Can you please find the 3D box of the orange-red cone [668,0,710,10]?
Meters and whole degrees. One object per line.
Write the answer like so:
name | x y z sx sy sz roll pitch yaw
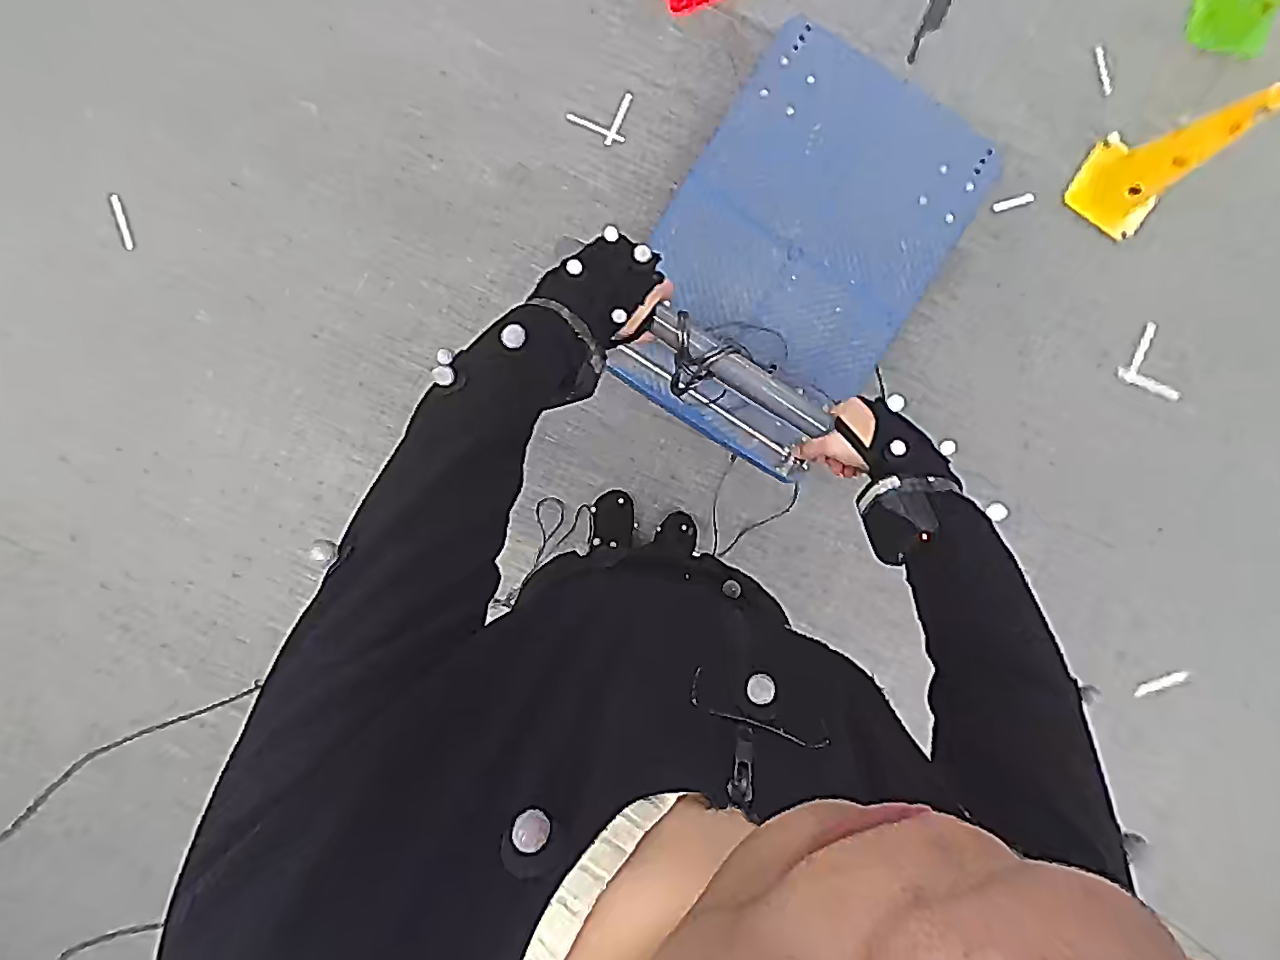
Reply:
orange-red cone | 0.147 -1.255 1.143 0.199 0.360 0.198 -20 93 -2

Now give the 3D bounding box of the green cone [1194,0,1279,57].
green cone | 1.492 -1.160 1.171 0.200 0.368 0.202 11 93 -1
